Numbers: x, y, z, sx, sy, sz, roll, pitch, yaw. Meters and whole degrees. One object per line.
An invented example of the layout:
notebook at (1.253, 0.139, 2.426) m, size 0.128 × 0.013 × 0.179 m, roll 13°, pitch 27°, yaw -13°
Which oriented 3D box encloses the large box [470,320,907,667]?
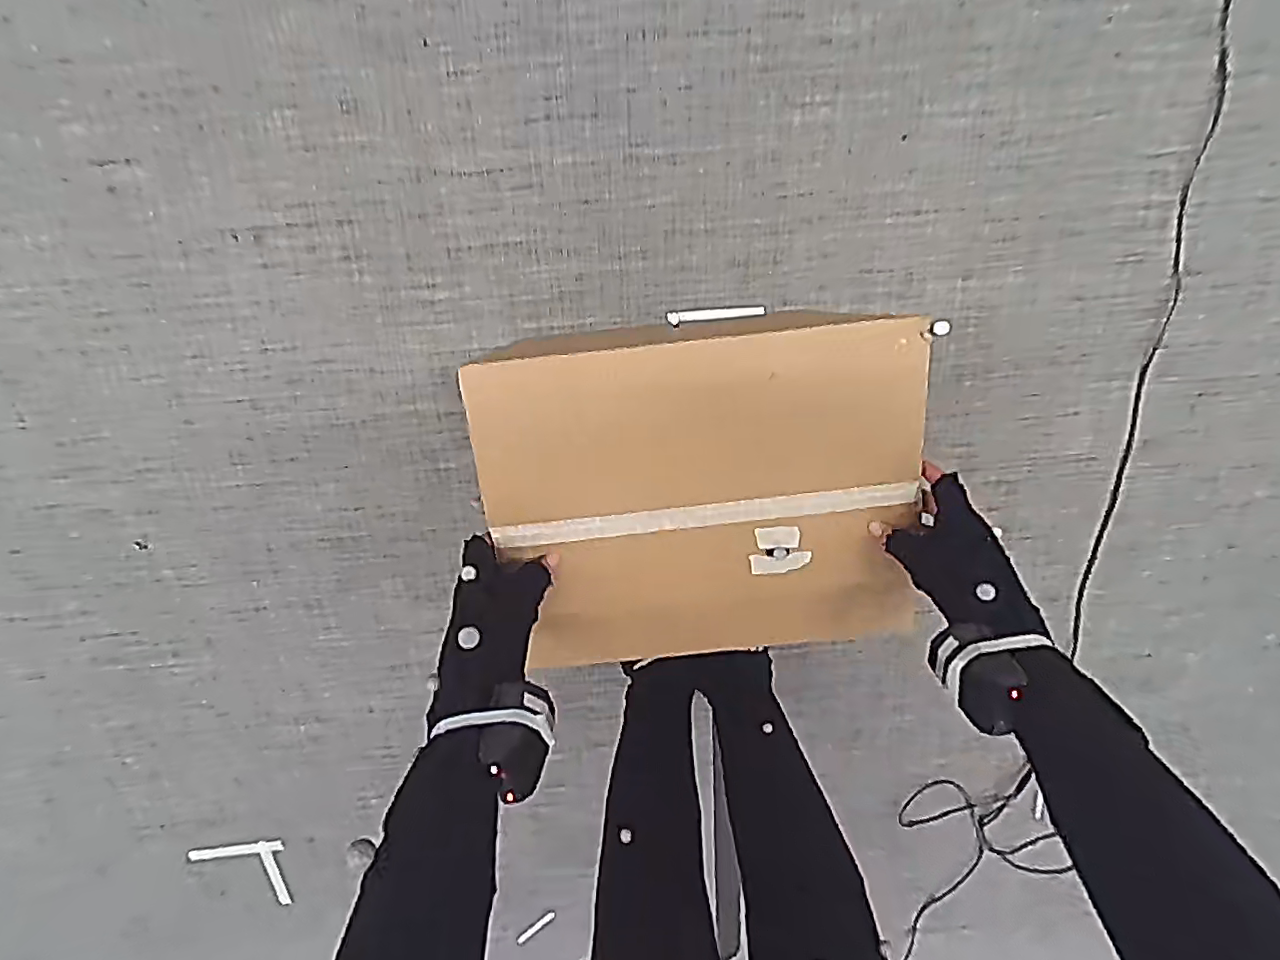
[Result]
large box at (0.054, -0.014, 0.669) m, size 0.408 × 0.320 × 0.320 m, roll -7°, pitch 109°, yaw 0°
